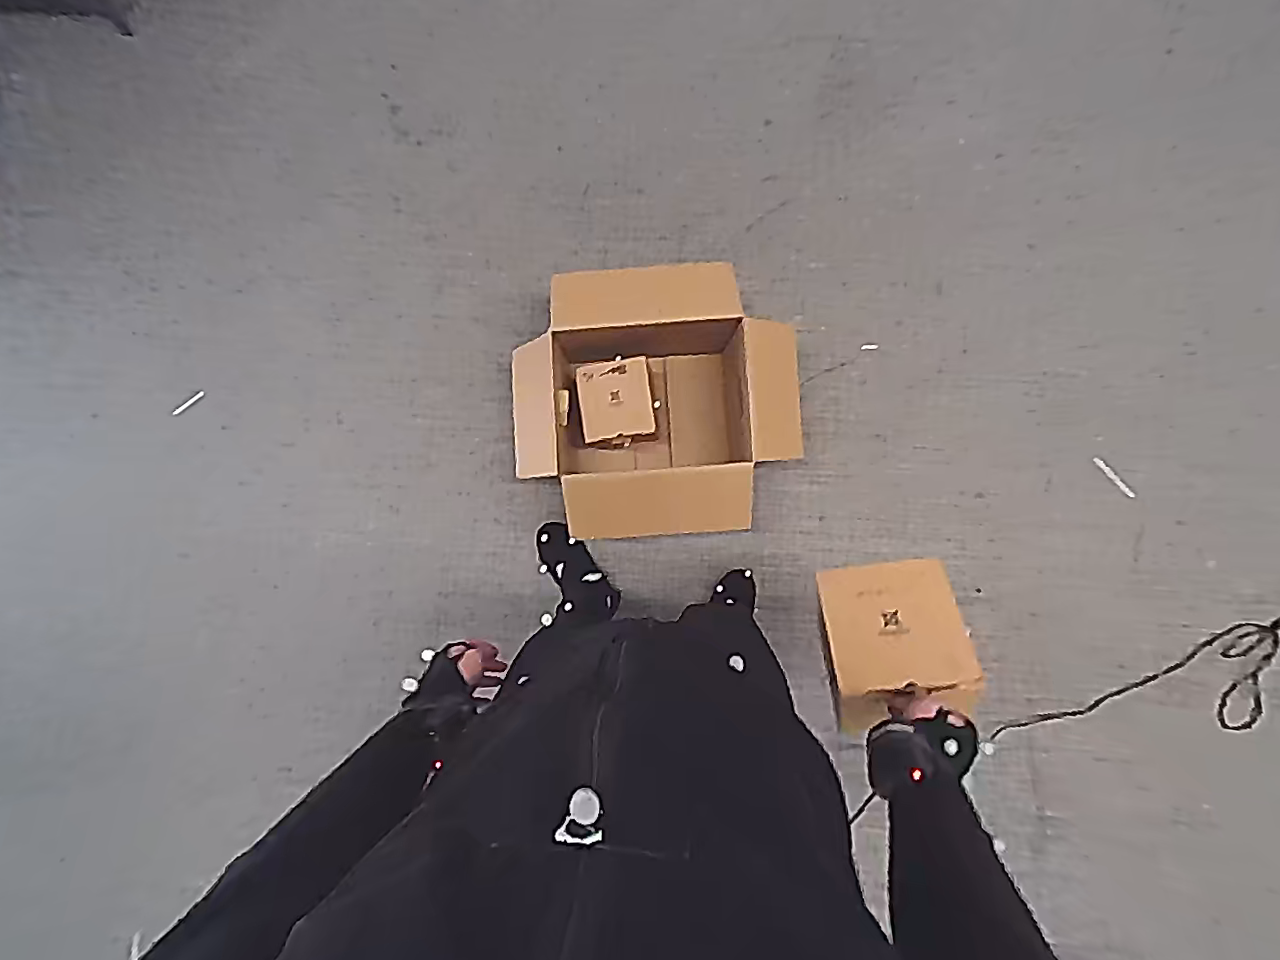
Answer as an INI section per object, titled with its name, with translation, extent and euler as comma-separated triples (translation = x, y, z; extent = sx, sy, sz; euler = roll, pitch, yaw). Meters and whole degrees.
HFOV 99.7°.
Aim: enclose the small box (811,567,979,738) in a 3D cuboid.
[small box]
translation = 0.337, 0.245, 0.750
extent = 0.168, 0.176, 0.179
euler = -7, 45, 11
